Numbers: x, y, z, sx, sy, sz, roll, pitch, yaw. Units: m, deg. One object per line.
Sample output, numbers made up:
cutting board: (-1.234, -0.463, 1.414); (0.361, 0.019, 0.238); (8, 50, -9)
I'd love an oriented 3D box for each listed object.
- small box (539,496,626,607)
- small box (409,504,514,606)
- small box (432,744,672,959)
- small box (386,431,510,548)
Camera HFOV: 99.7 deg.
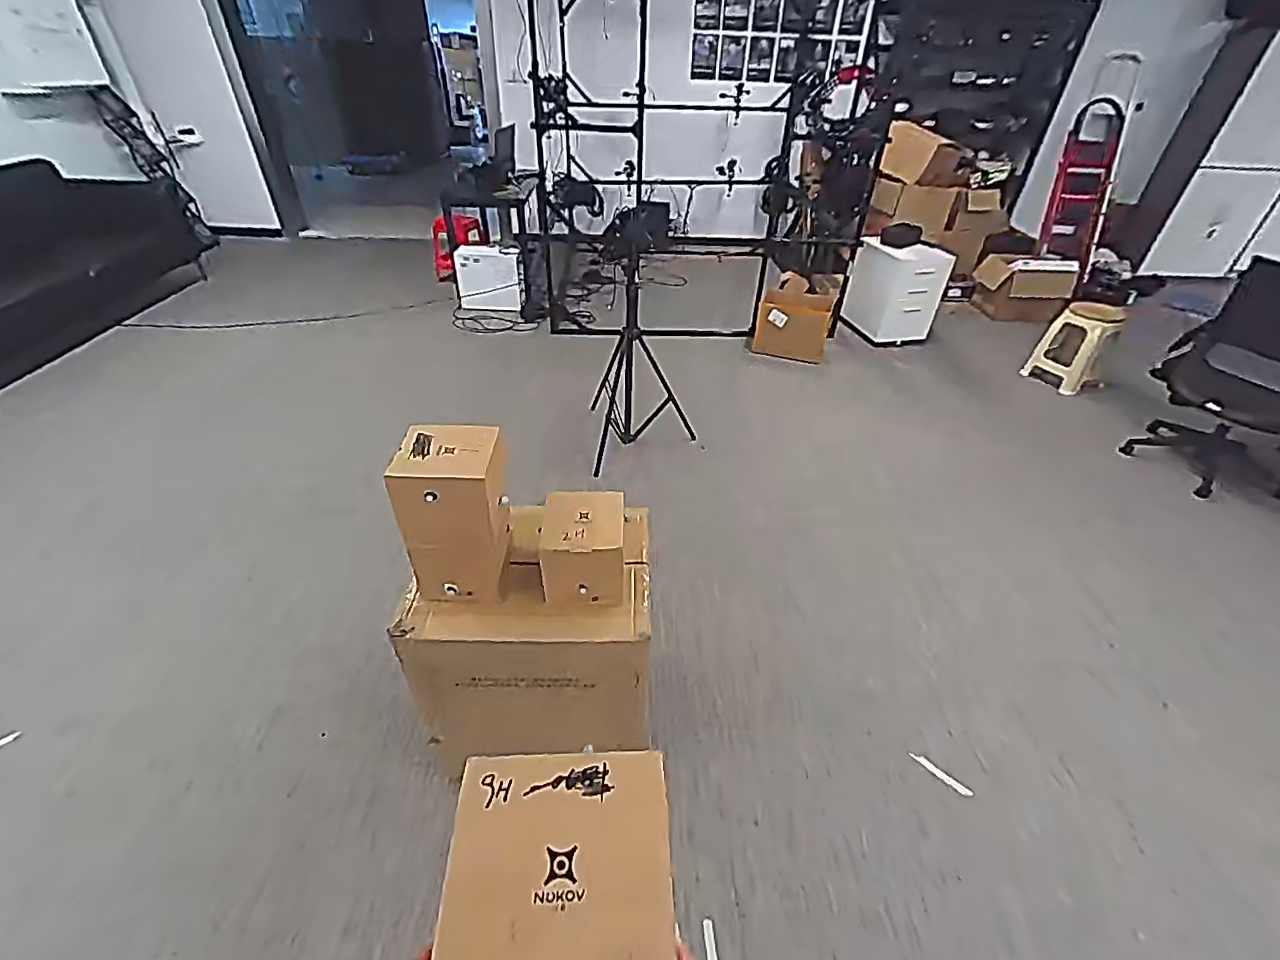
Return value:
small box: (-0.116, 0.151, 1.158); (0.168, 0.176, 0.179); (-1, 38, 0)
small box: (-0.369, 0.147, 1.156); (0.168, 0.176, 0.179); (0, 39, -2)
small box: (-0.061, 0.347, 0.457); (0.168, 0.176, 0.179); (-1, 44, -3)
small box: (-0.361, 0.019, 1.053); (0.179, 0.176, 0.168); (1, 38, -3)
